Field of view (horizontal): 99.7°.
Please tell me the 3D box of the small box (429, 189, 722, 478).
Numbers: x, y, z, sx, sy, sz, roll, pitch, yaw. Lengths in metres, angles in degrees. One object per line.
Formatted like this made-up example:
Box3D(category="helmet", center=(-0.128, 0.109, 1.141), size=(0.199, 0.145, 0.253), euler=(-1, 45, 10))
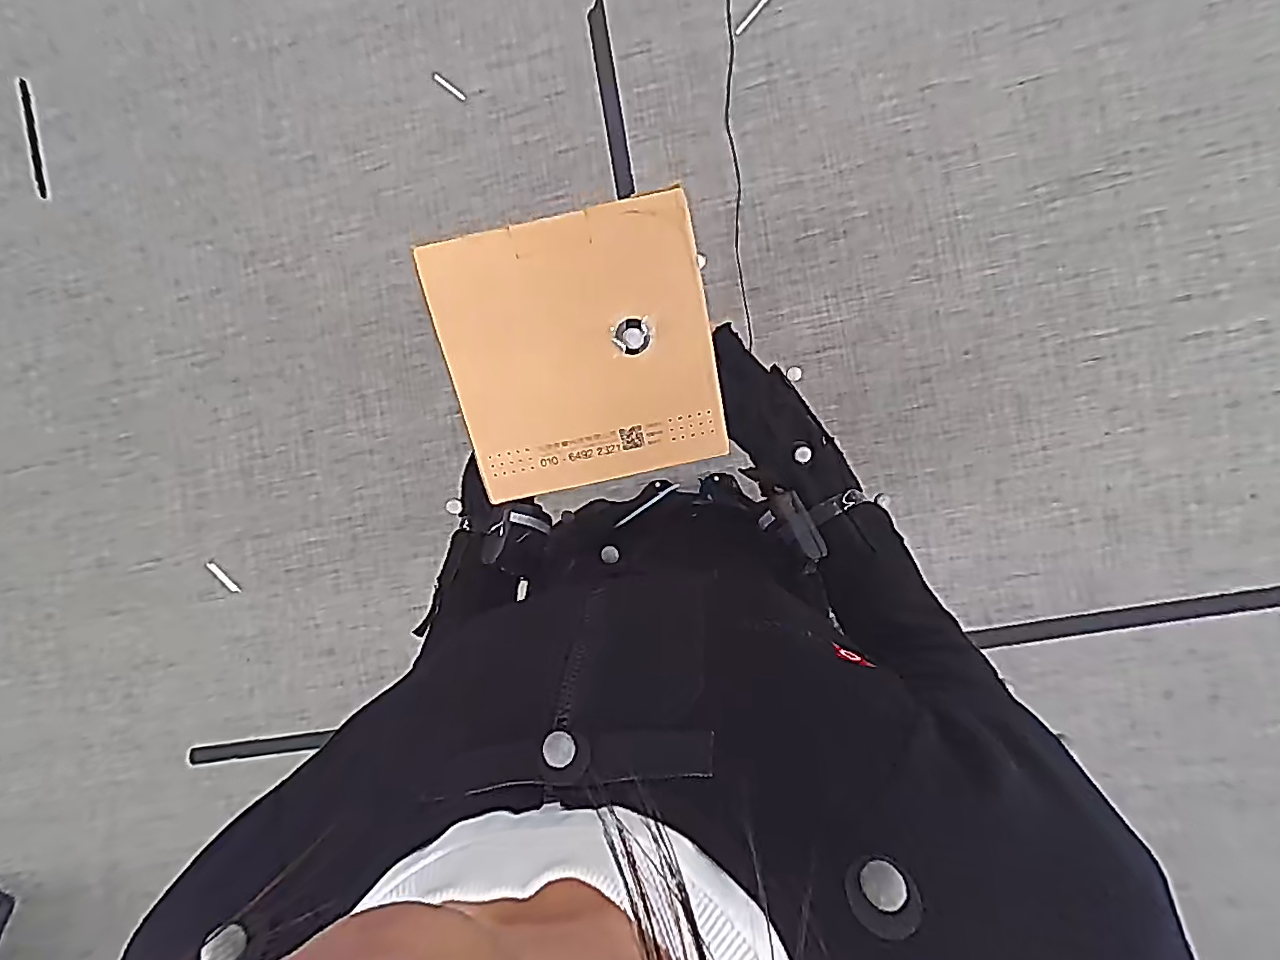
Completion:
Box3D(category="small box", center=(-0.035, -0.108, 0.432), size=(0.168, 0.179, 0.176), euler=(-11, 108, 4))
